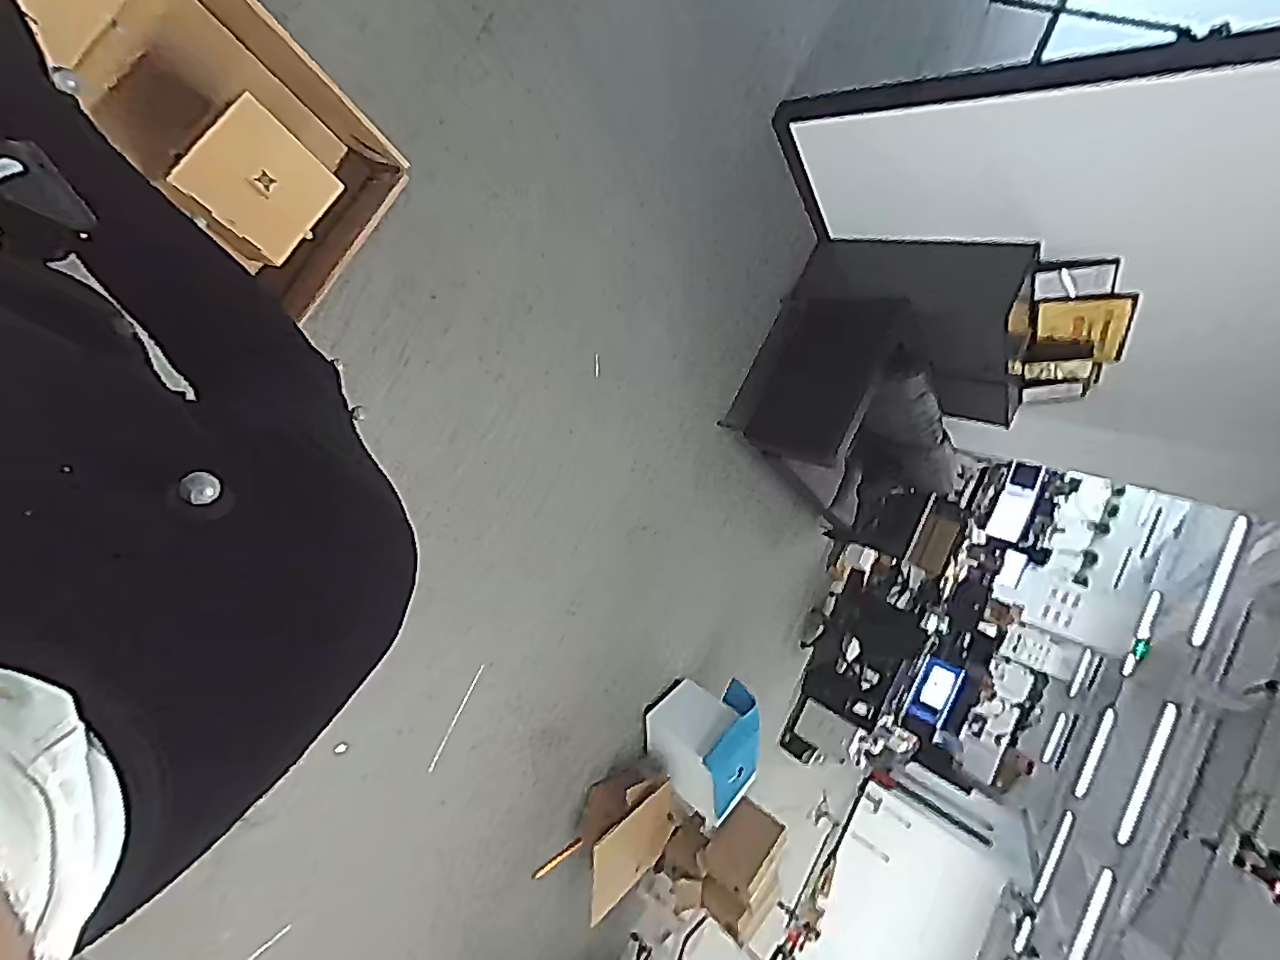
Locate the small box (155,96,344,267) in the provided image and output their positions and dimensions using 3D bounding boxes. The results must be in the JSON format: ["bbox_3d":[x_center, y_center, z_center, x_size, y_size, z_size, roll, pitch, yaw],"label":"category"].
[{"bbox_3d":[-0.631,-0.474,0.872,0.179,0.176,0.168,-58,141,-10],"label":"small box"}]
